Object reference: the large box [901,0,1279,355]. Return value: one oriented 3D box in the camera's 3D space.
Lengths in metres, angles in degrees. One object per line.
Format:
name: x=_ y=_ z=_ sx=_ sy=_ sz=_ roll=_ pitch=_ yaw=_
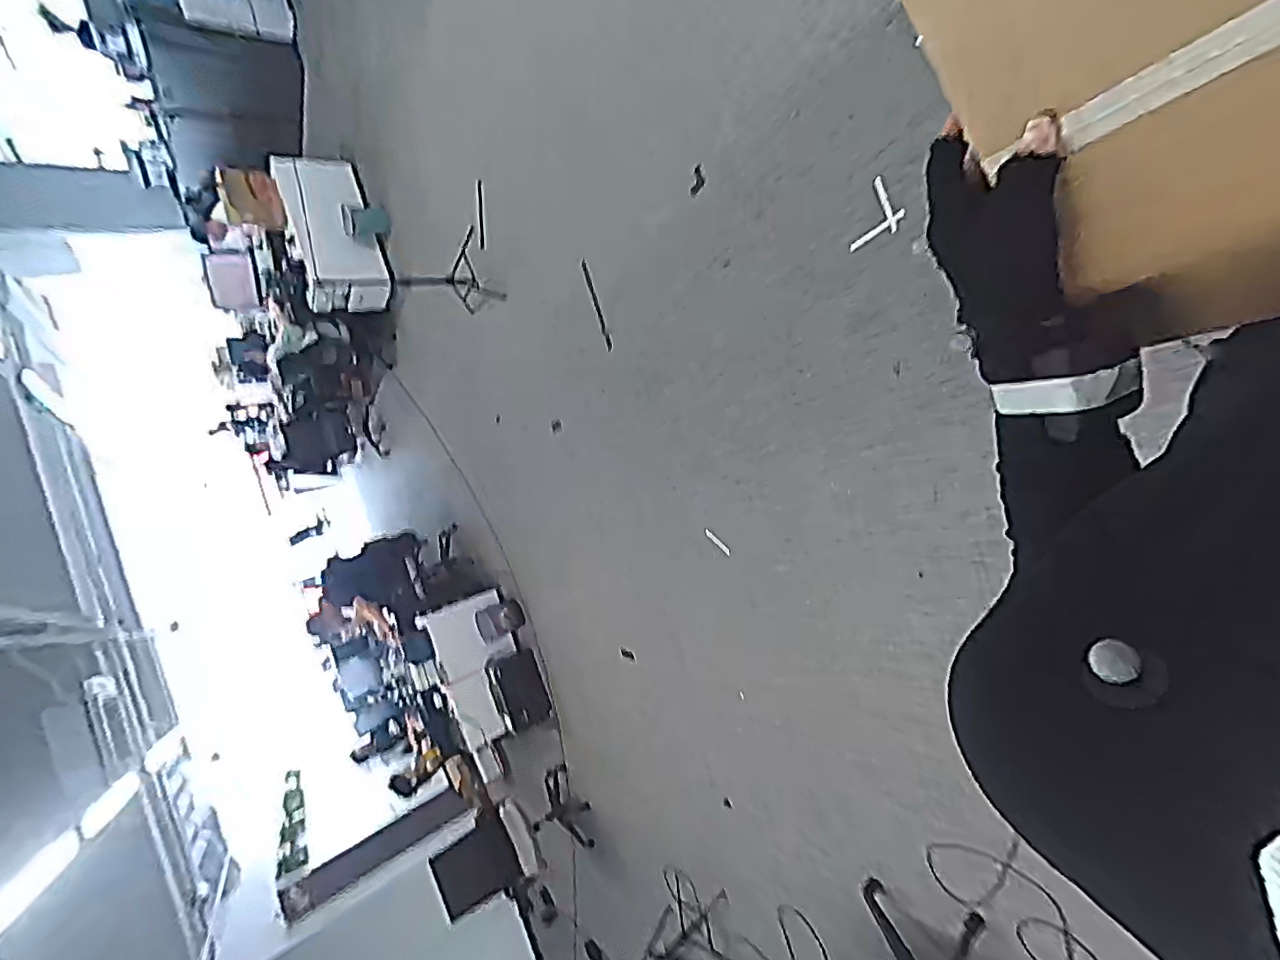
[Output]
large box: x=0.417 y=-0.325 z=0.256 sx=0.320 sy=0.320 sz=0.408 roll=47 pitch=152 yaw=-19
